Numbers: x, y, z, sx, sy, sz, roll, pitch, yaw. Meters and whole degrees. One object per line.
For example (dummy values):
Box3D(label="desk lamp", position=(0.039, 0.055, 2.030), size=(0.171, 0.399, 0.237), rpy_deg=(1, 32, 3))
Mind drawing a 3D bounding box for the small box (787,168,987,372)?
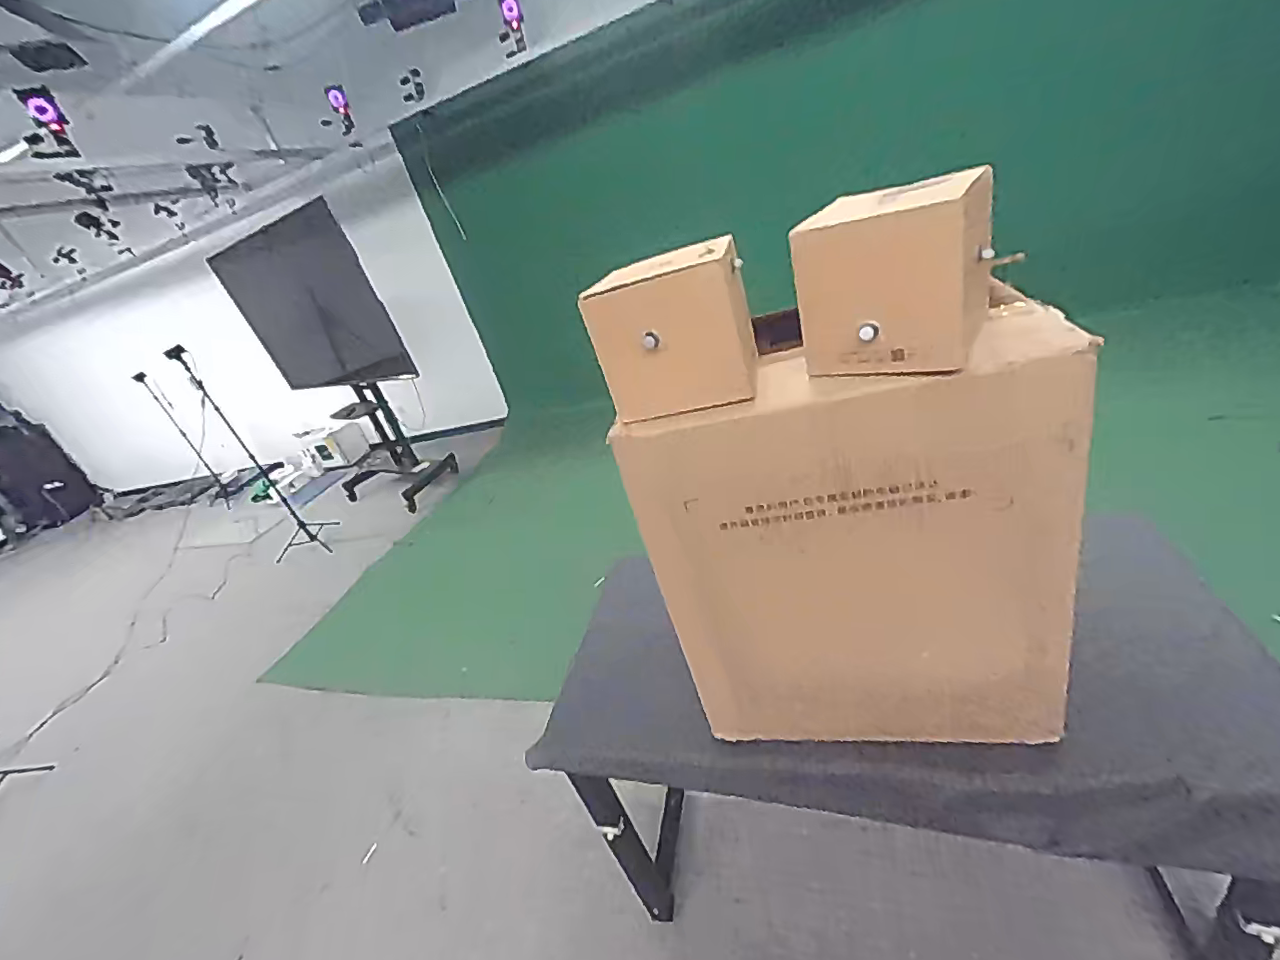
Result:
Box3D(label="small box", position=(0.290, -0.236, 0.627), size=(0.168, 0.176, 0.179), rpy_deg=(7, 37, 38))

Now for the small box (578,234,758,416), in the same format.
Box3D(label="small box", position=(0.047, -0.200, 0.714), size=(0.179, 0.176, 0.168), rpy_deg=(-10, 30, 20))
